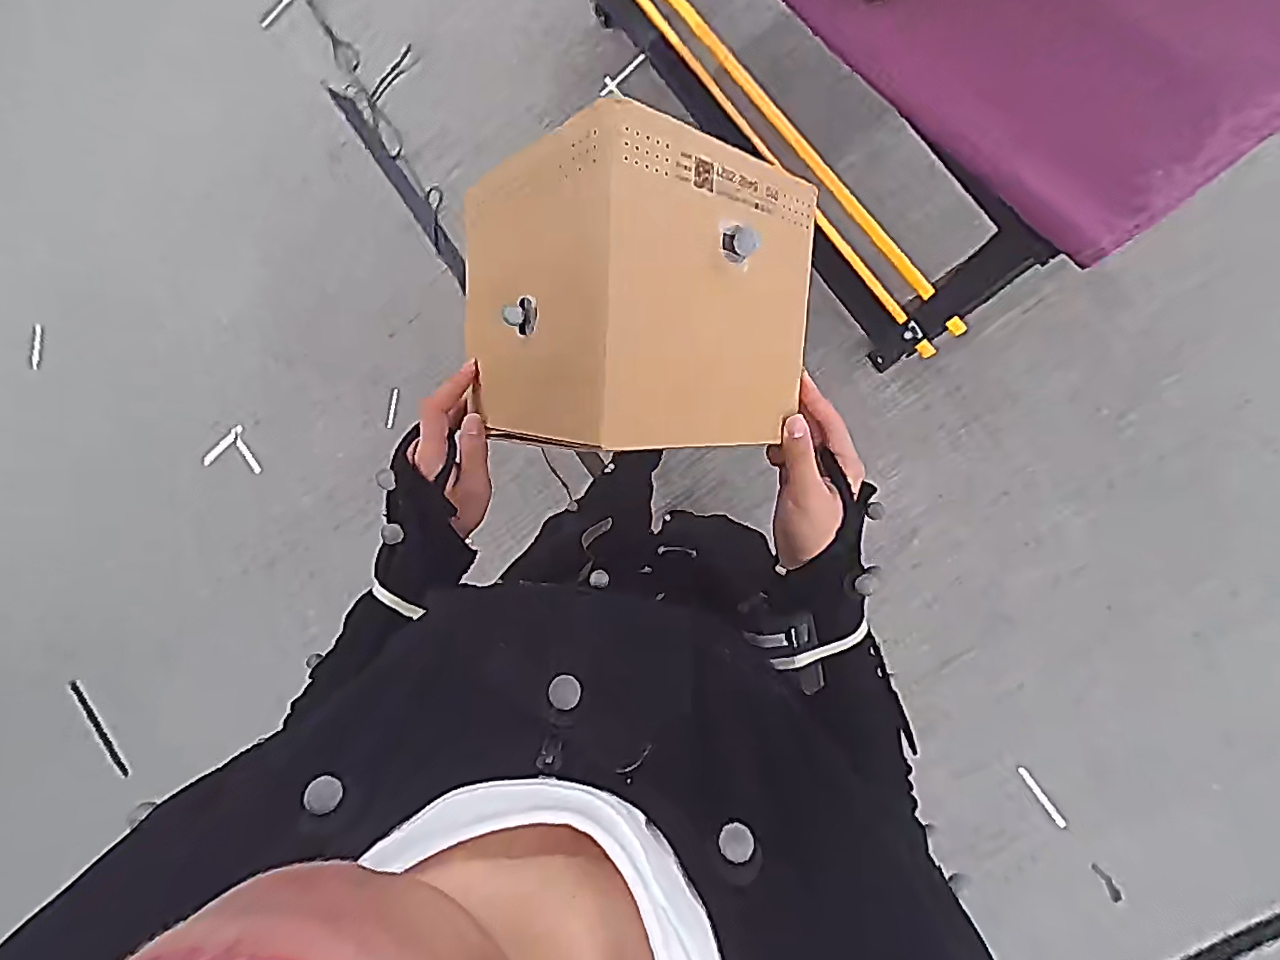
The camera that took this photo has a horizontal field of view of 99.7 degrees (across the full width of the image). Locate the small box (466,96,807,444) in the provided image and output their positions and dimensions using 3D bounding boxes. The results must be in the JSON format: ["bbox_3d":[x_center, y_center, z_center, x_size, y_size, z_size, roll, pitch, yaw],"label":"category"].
[{"bbox_3d":[-0.006,-0.117,0.373,0.179,0.168,0.176,13,103,49],"label":"small box"}]
